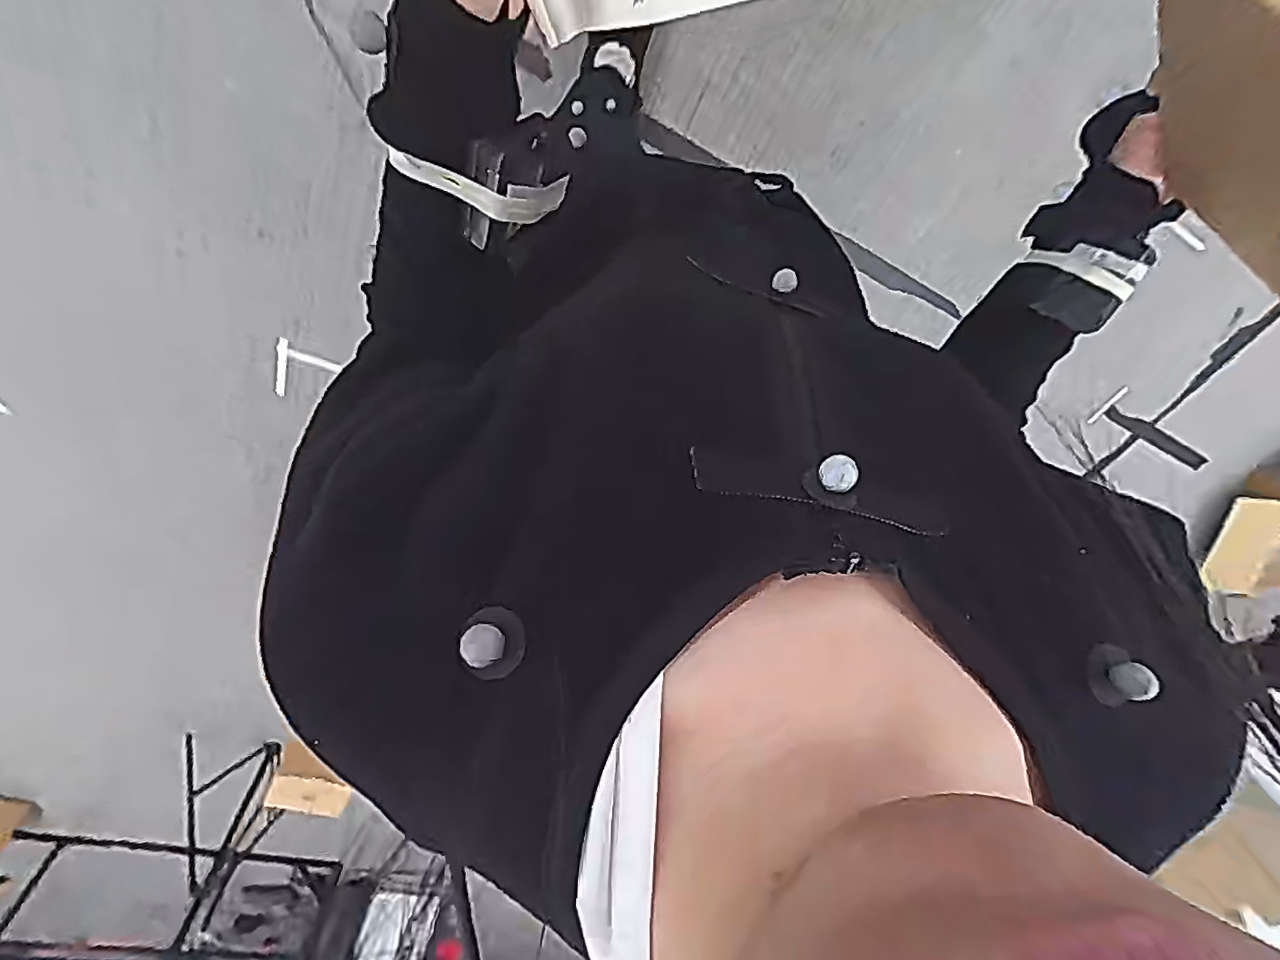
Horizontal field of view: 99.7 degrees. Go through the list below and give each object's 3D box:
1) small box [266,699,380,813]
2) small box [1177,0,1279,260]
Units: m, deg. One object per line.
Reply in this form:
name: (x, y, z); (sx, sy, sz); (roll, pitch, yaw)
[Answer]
small box: (-0.737, 0.646, 1.269); (0.168, 0.176, 0.179); (24, 123, -21)
small box: (0.354, -0.179, 0.204); (0.168, 0.176, 0.179); (-29, 147, 33)
